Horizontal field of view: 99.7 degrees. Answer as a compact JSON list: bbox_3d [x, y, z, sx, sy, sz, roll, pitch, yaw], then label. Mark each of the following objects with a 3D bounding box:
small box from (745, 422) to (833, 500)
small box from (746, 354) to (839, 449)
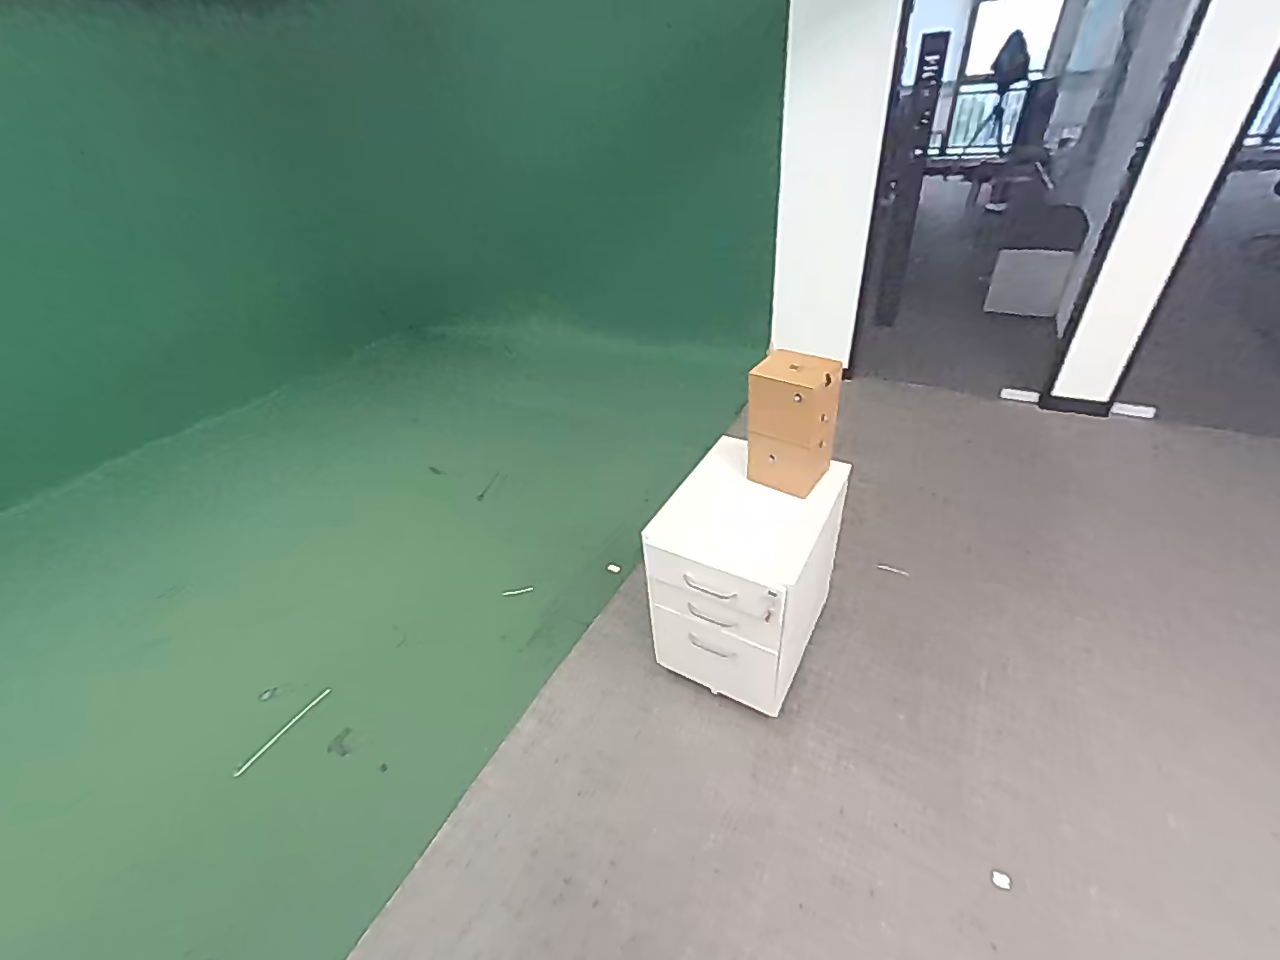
[{"bbox_3d":[0.400,-0.069,1.473,0.179,0.176,0.168,21,45,33],"label":"small box"},{"bbox_3d":[0.381,-0.199,1.376,0.179,0.176,0.168,22,45,31],"label":"small box"}]
